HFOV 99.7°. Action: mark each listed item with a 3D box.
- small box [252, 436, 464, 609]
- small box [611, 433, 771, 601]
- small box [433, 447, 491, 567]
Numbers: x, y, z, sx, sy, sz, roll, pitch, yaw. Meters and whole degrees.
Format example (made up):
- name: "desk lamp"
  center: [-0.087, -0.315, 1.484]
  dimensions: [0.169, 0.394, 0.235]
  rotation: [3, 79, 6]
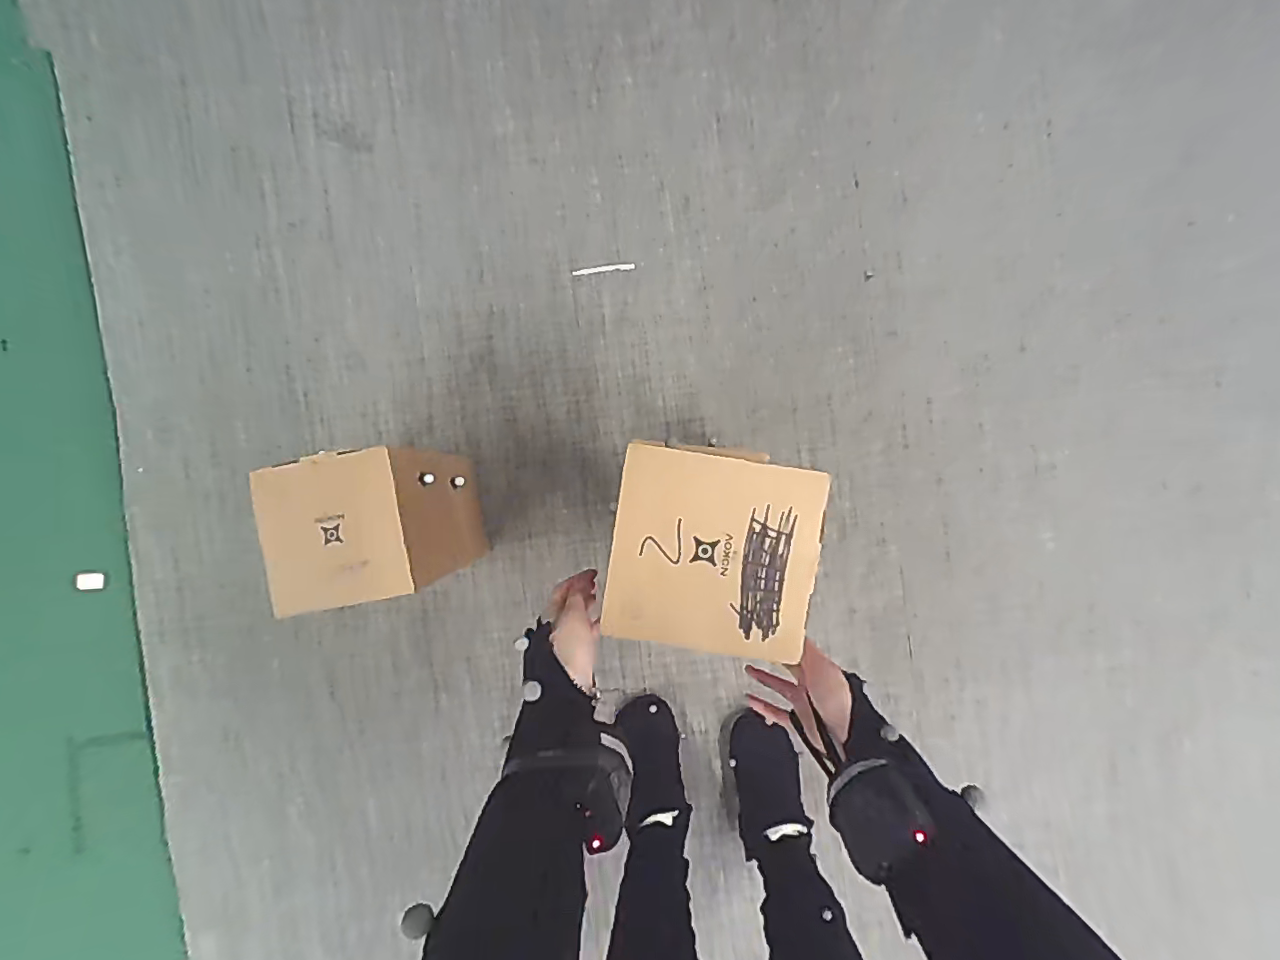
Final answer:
- name: "small box"
  center: [-0.344, 0.048, 0.692]
  dimensions: [0.168, 0.176, 0.179]
  rotation: [-11, 91, 1]
- name: "small box"
  center: [0.059, 0.040, 0.693]
  dimensions: [0.168, 0.176, 0.179]
  rotation: [7, 91, 0]
- name: "small box"
  center: [-0.350, 0.052, 0.855]
  dimensions: [0.168, 0.176, 0.179]
  rotation: [-11, 91, 0]
